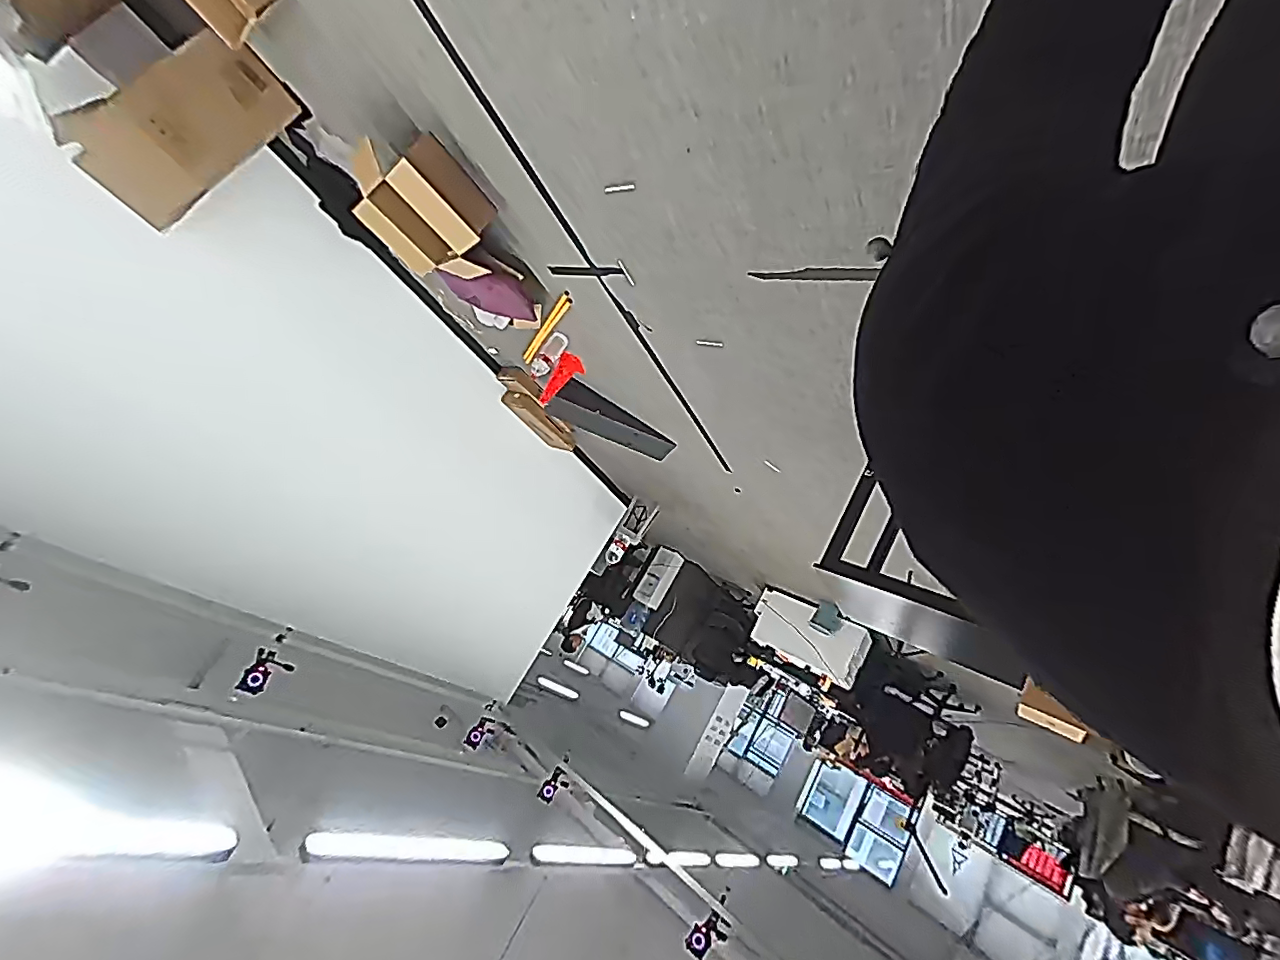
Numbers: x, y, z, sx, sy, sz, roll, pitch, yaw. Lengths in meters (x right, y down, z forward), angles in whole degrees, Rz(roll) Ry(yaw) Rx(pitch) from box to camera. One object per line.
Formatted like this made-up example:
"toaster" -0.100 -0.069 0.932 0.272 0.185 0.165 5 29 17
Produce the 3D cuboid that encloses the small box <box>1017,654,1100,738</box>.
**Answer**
"small box" 1.292 0.664 1.672 0.168 0.176 0.179 19 161 41
